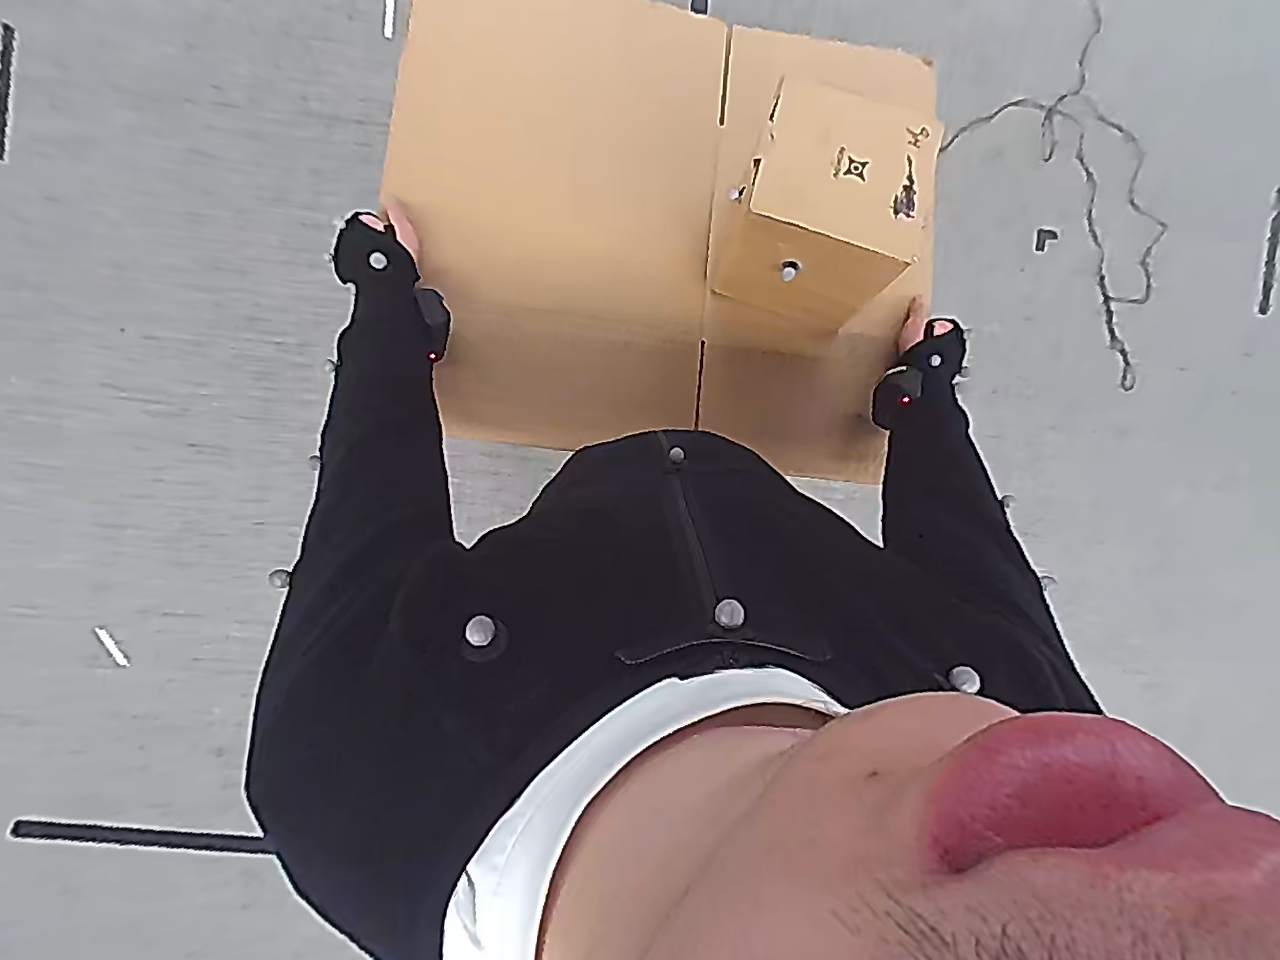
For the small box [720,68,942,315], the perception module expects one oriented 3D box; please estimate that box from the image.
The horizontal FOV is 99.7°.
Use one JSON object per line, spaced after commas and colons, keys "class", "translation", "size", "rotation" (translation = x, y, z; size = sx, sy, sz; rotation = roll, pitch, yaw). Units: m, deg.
{"class": "small box", "translation": [0.204, -0.315, 0.626], "size": [0.179, 0.176, 0.168], "rotation": [16, 83, -1]}
